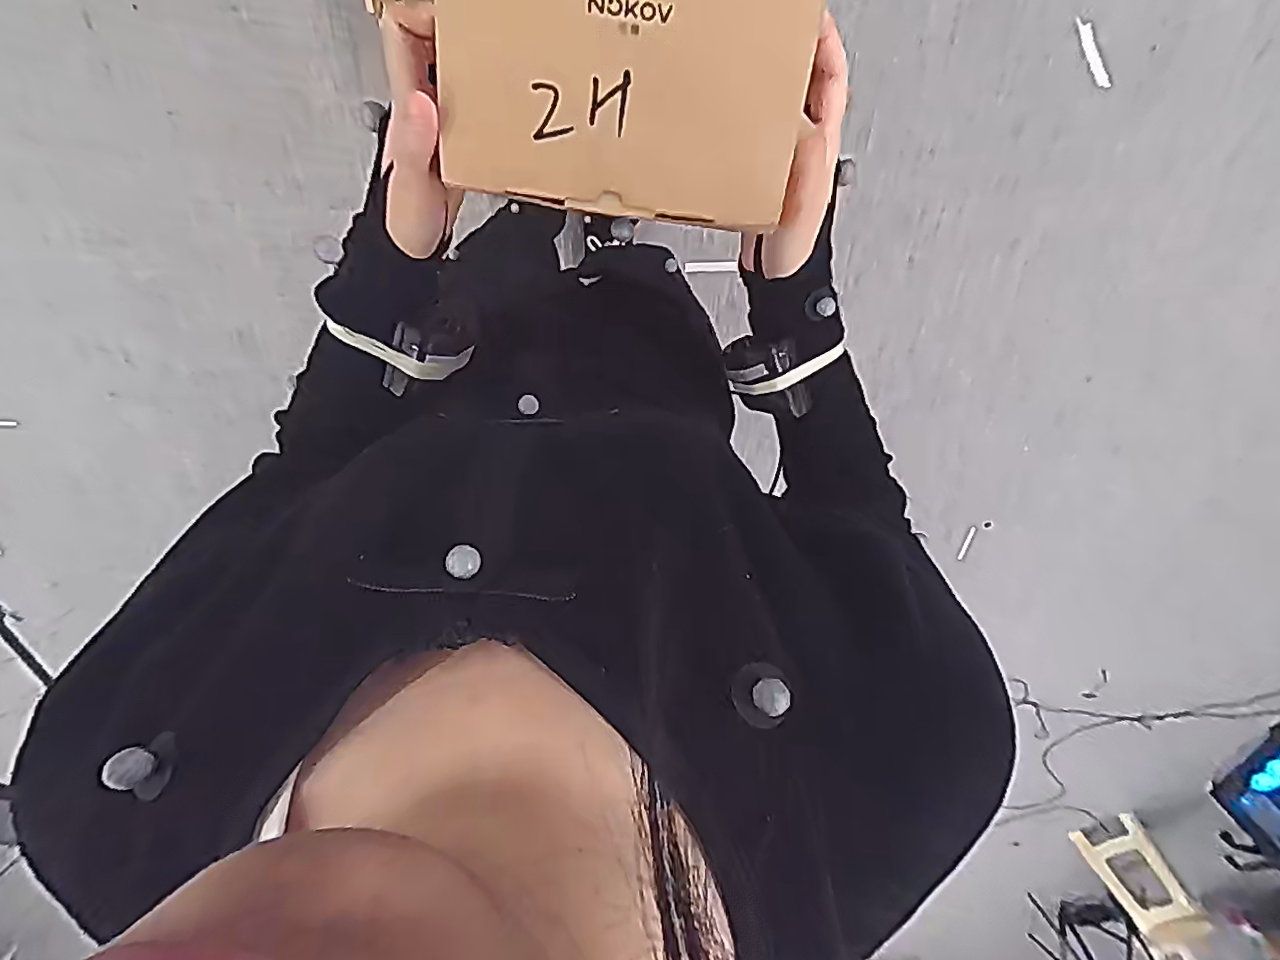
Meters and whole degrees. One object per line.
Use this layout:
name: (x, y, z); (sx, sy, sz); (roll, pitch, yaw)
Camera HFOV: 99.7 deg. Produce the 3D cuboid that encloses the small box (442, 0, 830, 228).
small box: (0.003, -0.247, 0.297); (0.168, 0.176, 0.179); (9, 115, 0)
